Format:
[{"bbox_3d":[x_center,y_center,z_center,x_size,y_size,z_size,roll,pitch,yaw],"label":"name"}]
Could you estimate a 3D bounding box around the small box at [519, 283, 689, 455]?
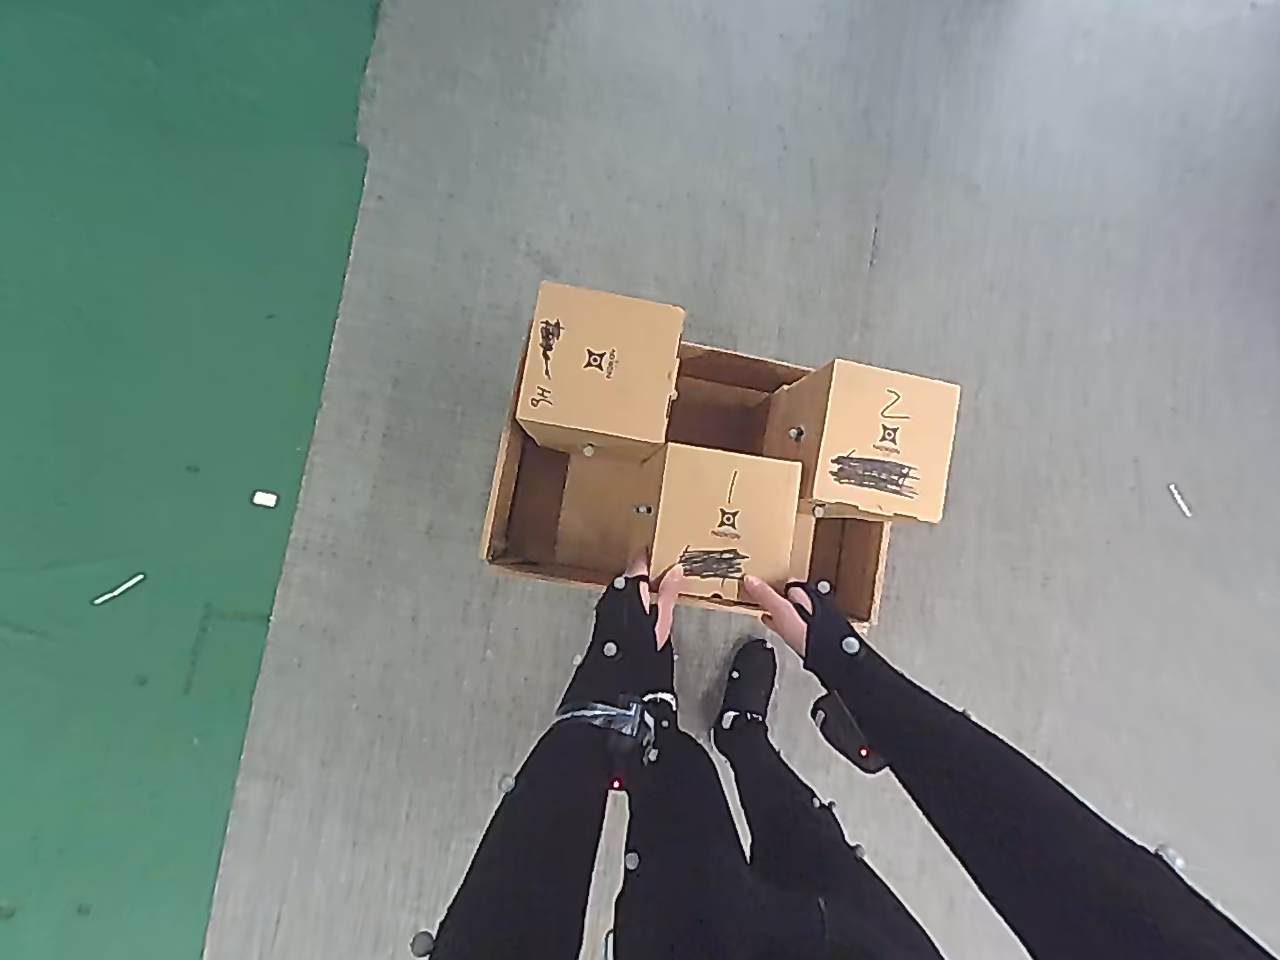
[{"bbox_3d":[-0.048,-0.130,0.707,0.179,0.176,0.168,10,86,-5],"label":"small box"}]
